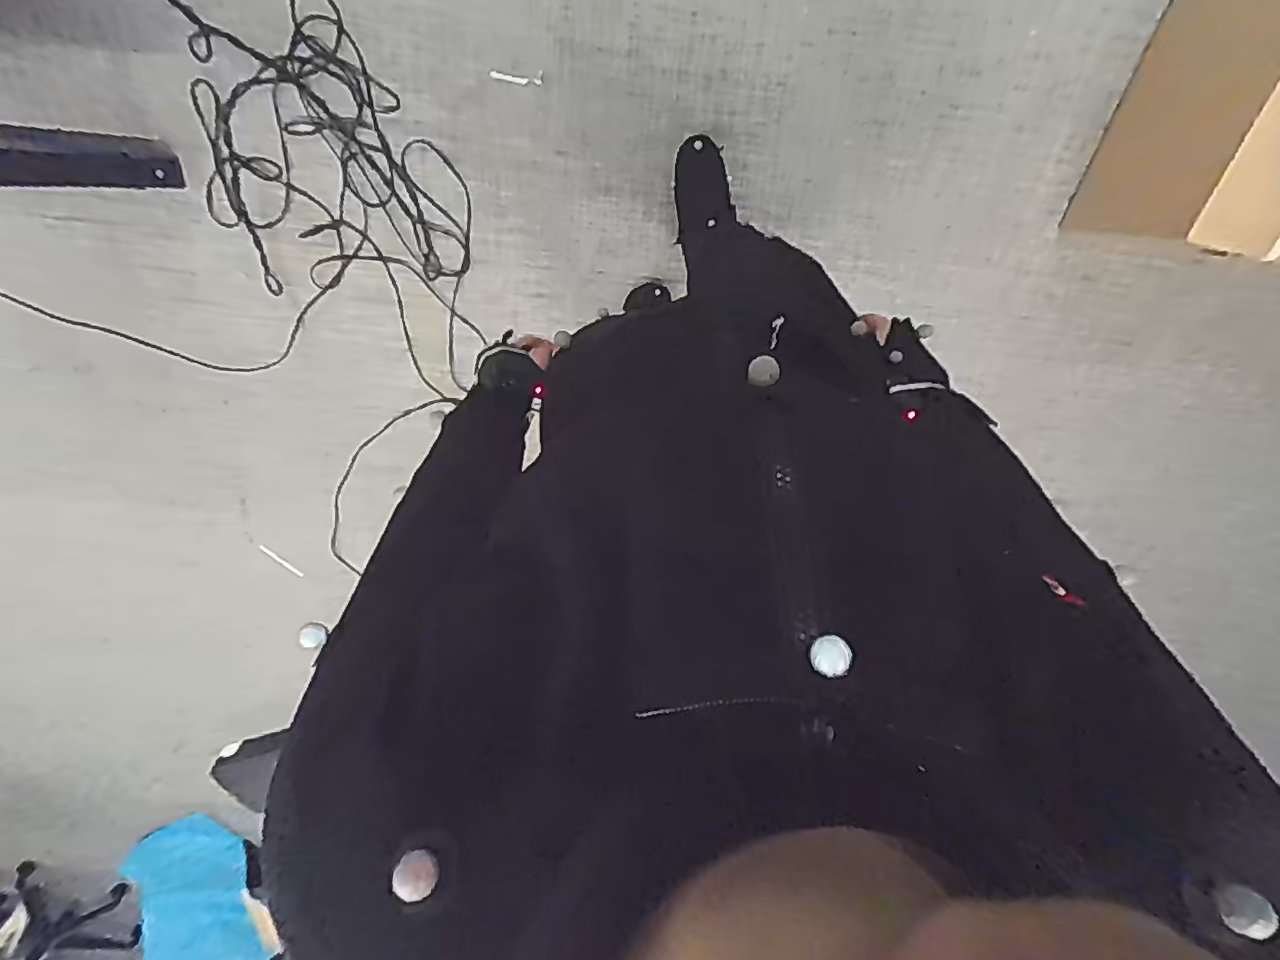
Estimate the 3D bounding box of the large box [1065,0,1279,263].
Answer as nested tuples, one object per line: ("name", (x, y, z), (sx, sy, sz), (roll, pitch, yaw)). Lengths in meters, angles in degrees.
("large box", (1.073, -0.618, 0.935), (0.320, 0.320, 0.408), (9, 119, -3))
